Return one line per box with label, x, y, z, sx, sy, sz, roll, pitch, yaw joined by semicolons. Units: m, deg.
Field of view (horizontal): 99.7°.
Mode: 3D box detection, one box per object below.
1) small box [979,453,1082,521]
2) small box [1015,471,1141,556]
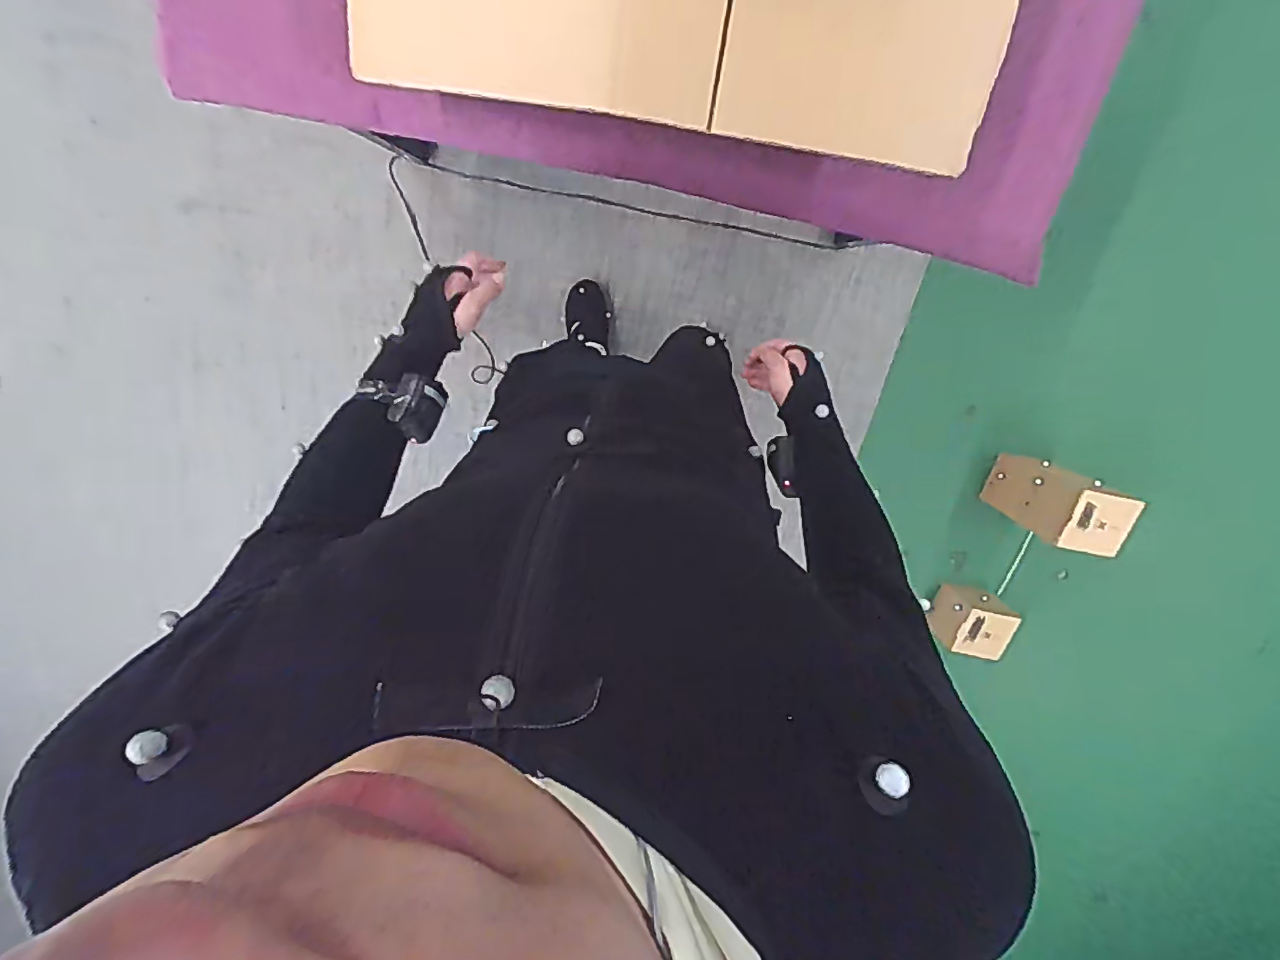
small box;1.182;0.028;1.634;0.179;0.176;0.168;11;110;-5
small box;1.186;0.085;1.481;0.179;0.176;0.168;11;110;-6
